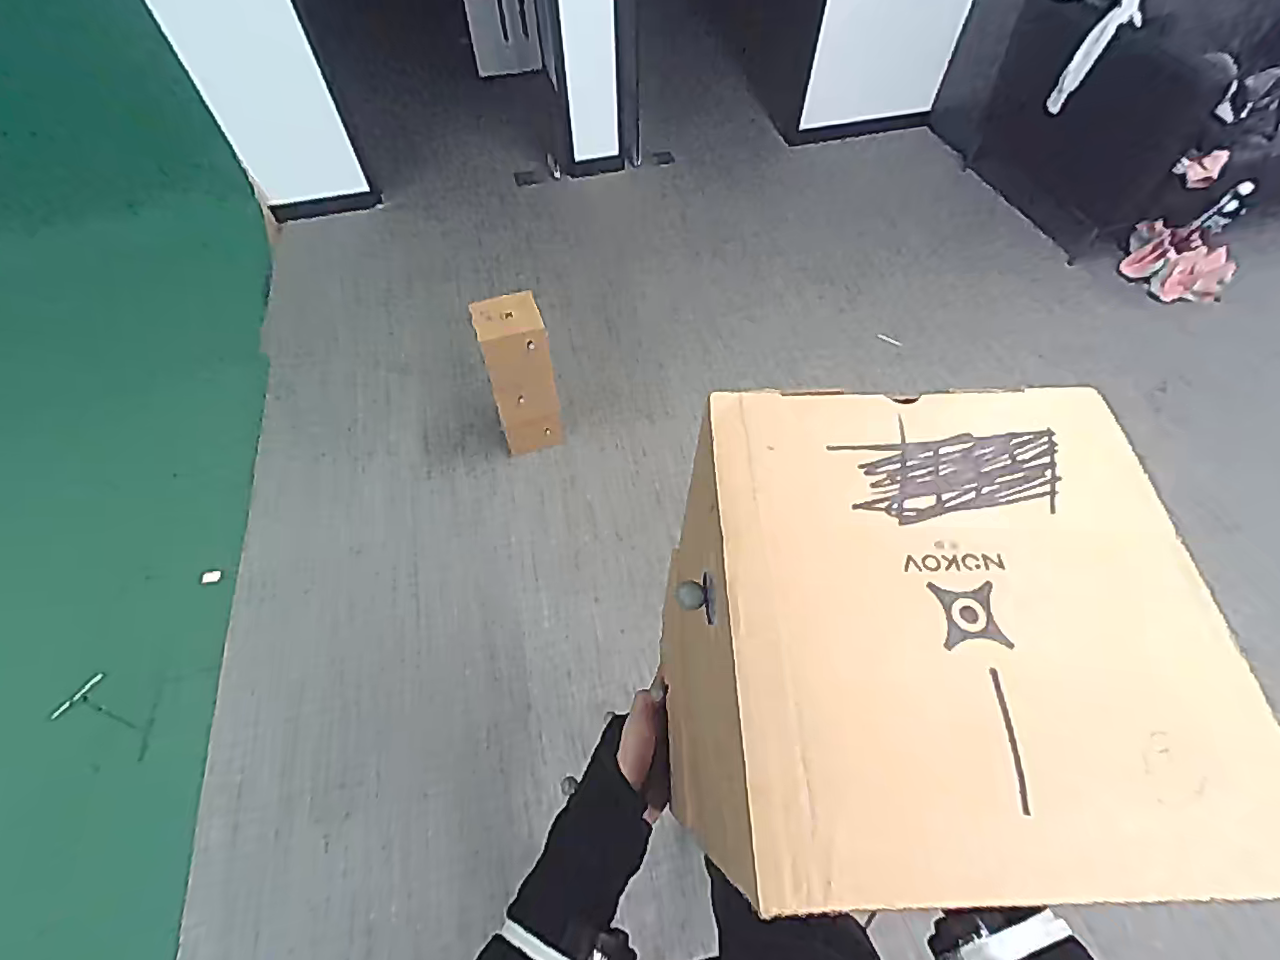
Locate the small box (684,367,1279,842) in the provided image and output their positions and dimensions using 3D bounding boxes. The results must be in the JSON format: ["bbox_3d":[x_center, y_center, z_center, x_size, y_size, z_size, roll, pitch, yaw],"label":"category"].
[{"bbox_3d":[0.113,0.066,0.266,0.168,0.176,0.179,-2,62,0],"label":"small box"}]

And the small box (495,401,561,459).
[{"bbox_3d":[-0.363,-0.197,1.773,0.179,0.176,0.168,-18,57,-10],"label":"small box"}]

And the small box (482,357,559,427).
[{"bbox_3d":[-0.357,-0.285,1.634,0.179,0.176,0.168,-18,58,-10],"label":"small box"}]

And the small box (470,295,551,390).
[{"bbox_3d":[-0.351,-0.377,1.496,0.179,0.176,0.168,-17,57,-10],"label":"small box"}]
